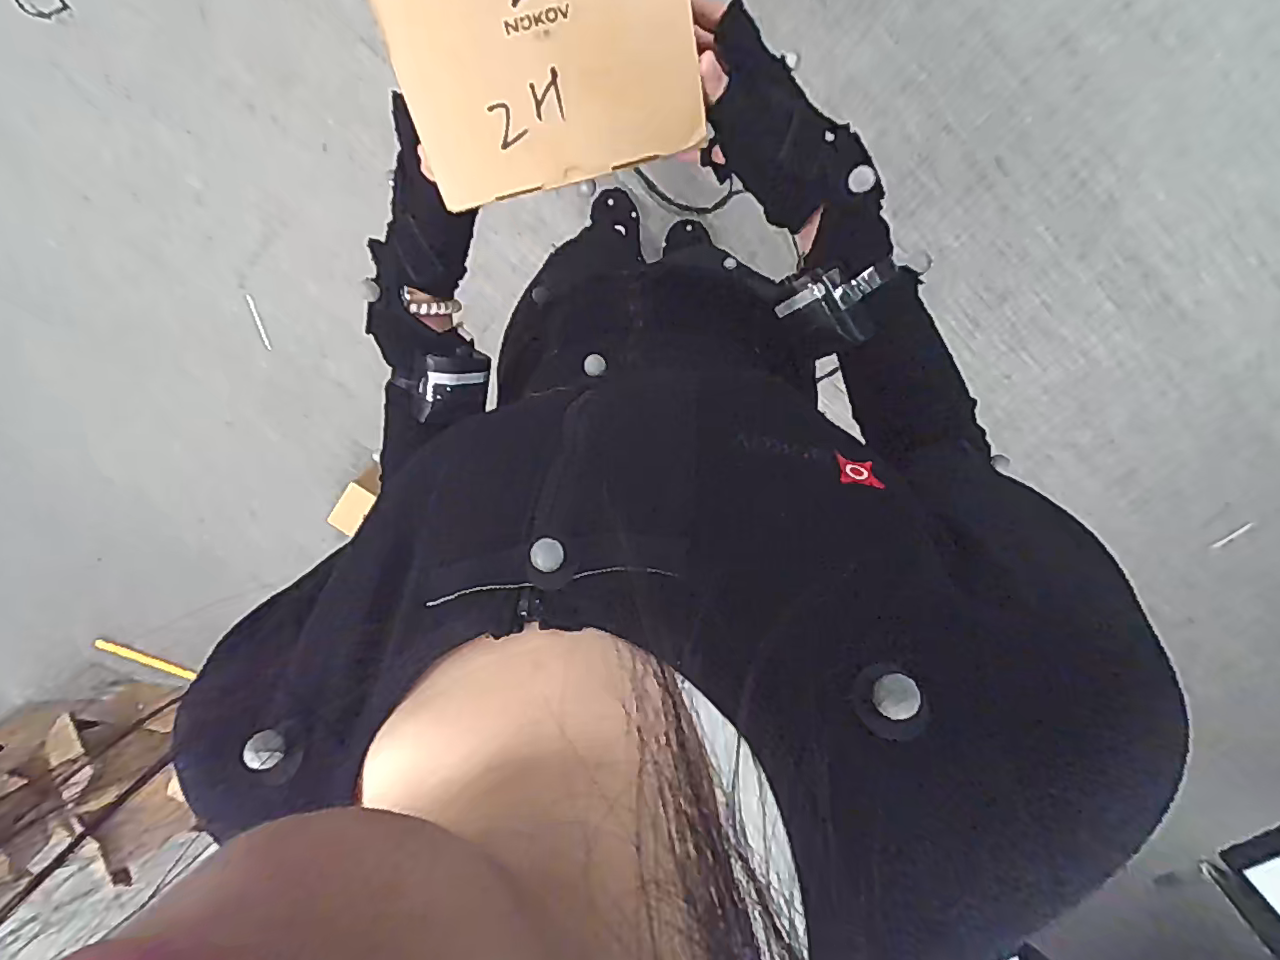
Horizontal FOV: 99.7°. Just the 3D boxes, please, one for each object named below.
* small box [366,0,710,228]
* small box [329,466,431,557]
[{"bbox_3d":[-0.059,-0.281,0.347,0.168,0.176,0.179,-12,122,4],"label":"small box"},{"bbox_3d":[-0.745,0.081,1.565,0.179,0.176,0.168,36,112,-15],"label":"small box"}]
